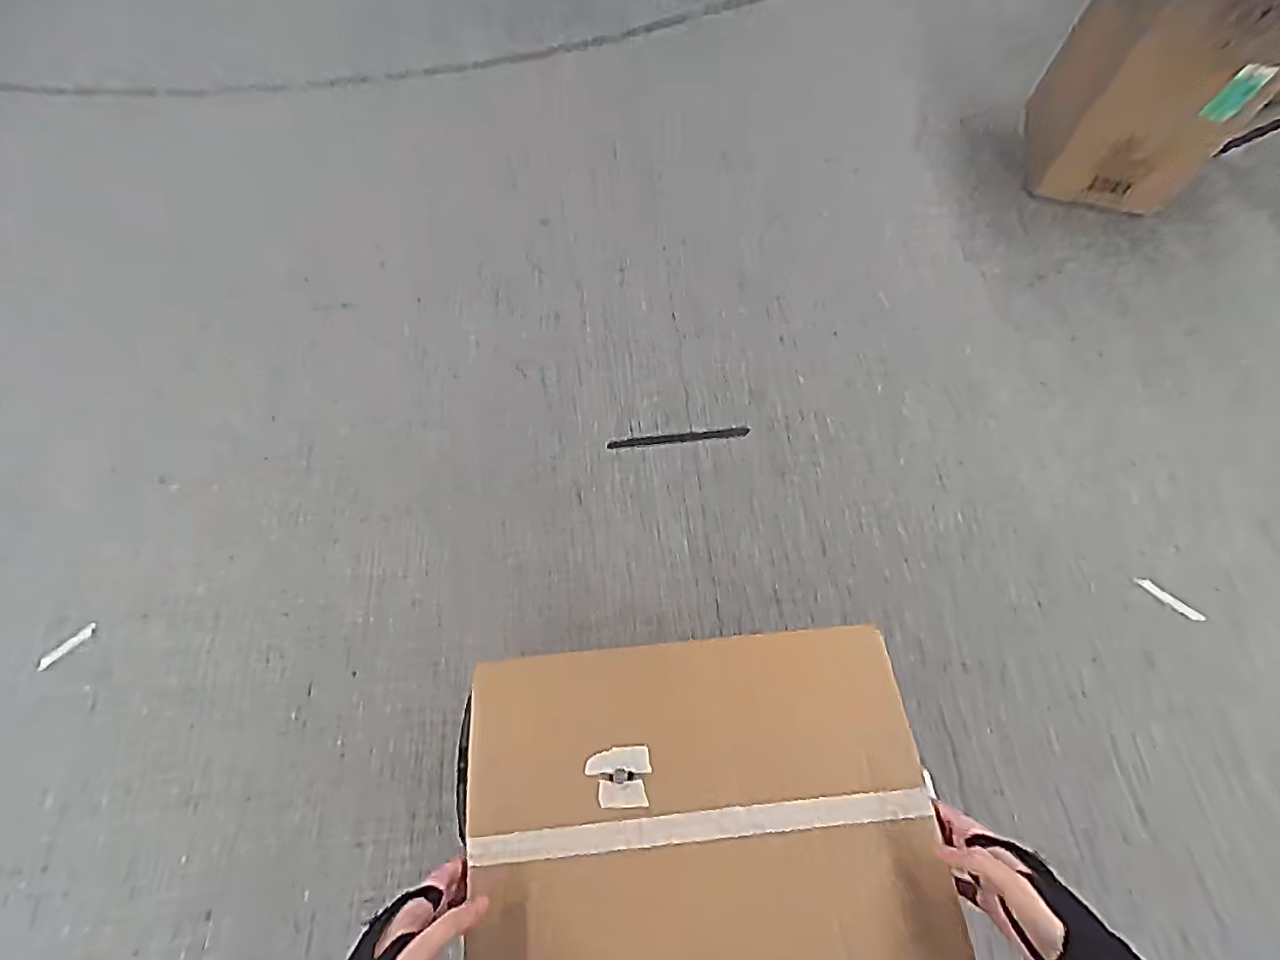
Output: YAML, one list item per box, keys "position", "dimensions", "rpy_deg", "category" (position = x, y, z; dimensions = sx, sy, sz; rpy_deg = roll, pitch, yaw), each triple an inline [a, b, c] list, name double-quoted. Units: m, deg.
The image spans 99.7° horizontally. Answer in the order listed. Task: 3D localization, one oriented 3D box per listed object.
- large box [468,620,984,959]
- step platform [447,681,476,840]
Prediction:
- position: [0.062, 0.360, 0.590]
  dimensions: [0.408, 0.320, 0.320]
  rpy_deg: [-6, 63, 0]
  category: "large box"
- position: [-0.020, 0.547, 1.074]
  dimensions: [0.684, 0.204, 0.286]
  rpy_deg: [0, 66, 2]
  category: "step platform"
